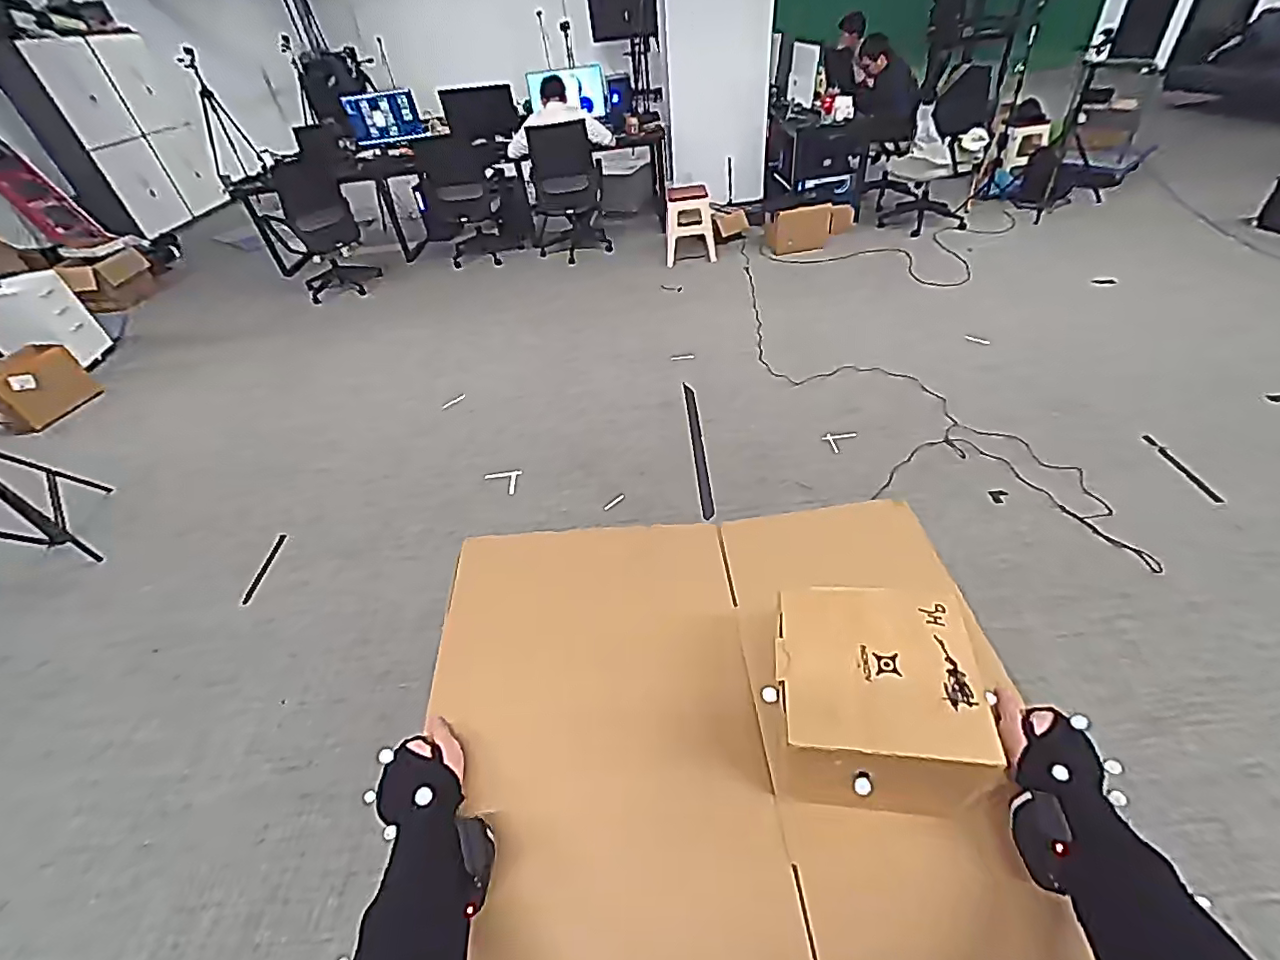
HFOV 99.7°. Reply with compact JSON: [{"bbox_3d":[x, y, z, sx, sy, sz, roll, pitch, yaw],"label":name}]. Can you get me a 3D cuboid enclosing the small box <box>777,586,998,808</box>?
[{"bbox_3d":[0.238,0.230,0.573,0.179,0.176,0.168,-1,46,13],"label":"small box"}]
